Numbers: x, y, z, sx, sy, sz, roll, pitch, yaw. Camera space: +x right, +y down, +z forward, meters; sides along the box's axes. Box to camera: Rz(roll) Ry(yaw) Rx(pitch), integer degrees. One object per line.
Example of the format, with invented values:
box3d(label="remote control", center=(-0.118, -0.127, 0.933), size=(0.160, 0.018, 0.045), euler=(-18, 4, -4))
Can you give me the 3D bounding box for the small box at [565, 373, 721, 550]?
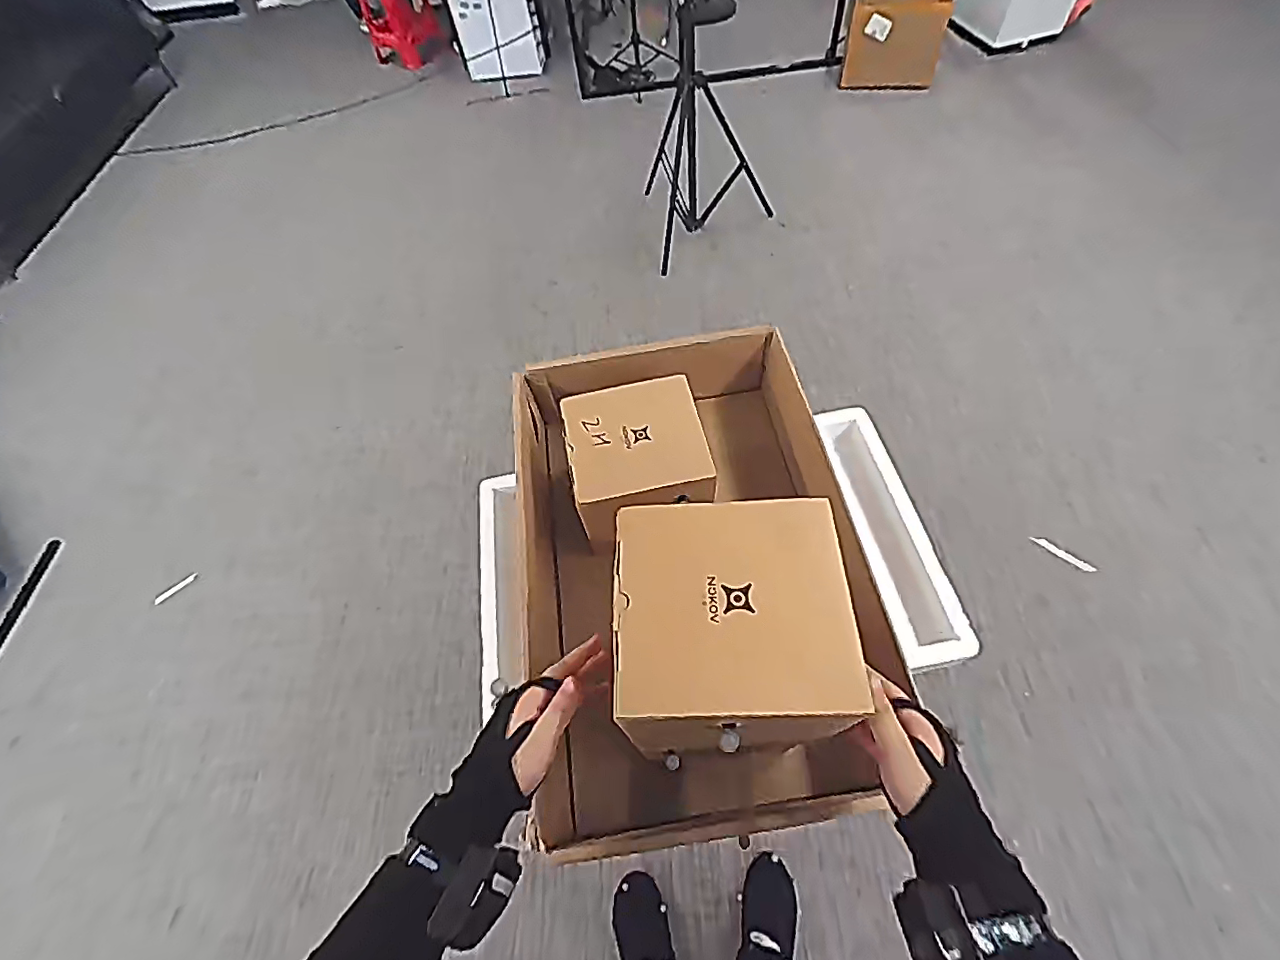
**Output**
box3d(label="small box", center=(0.002, -0.020, 0.752), size=(0.179, 0.176, 0.168), euler=(-12, 60, -3))
